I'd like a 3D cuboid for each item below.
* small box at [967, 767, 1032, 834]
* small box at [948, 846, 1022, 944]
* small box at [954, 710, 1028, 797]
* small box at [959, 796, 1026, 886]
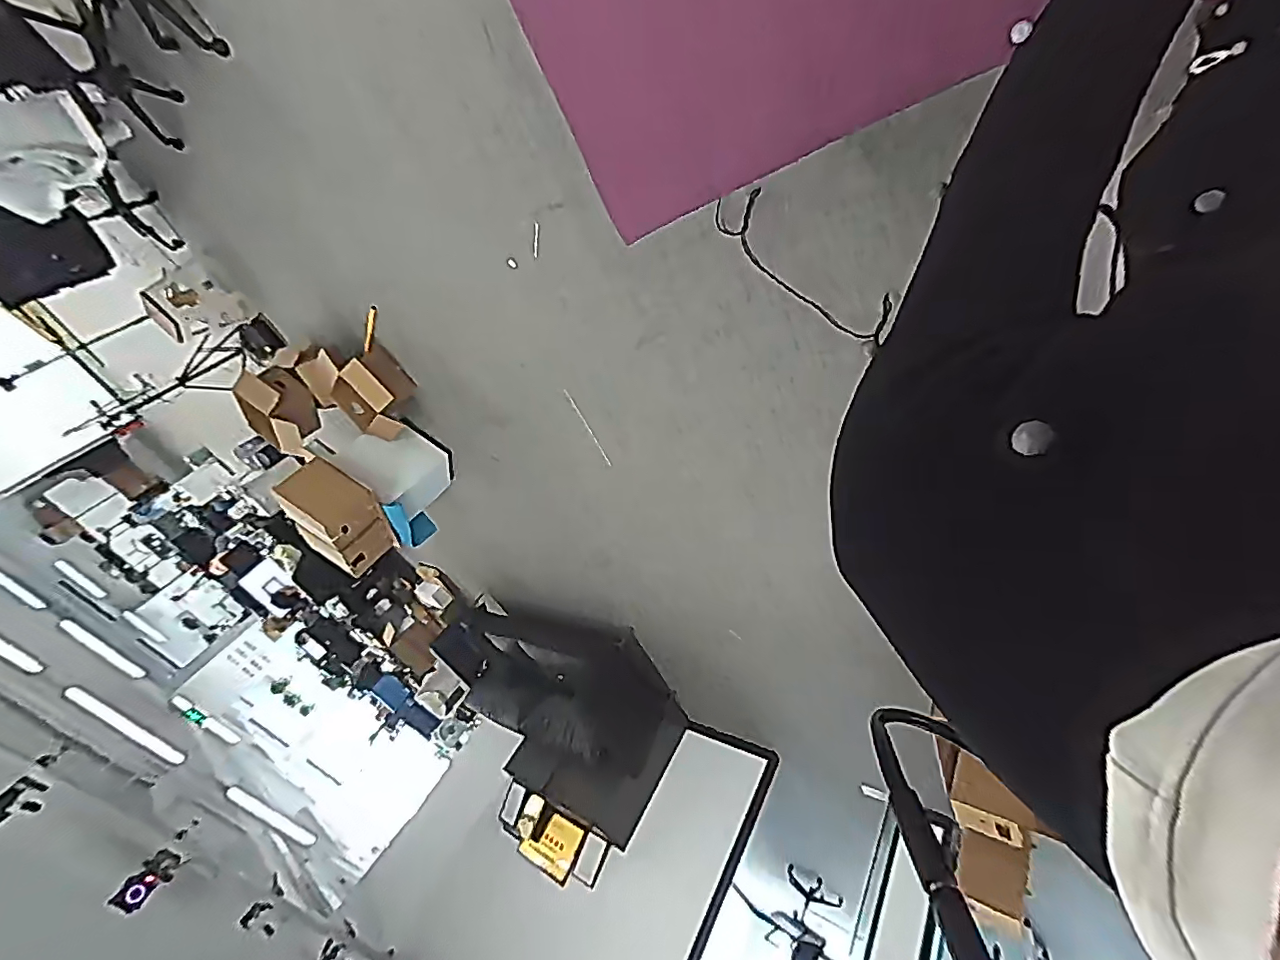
[{"bbox_3d":[1.262,1.090,1.898,0.179,0.176,0.168,6,133,38],"label":"small box"},{"bbox_3d":[1.093,1.300,1.709,0.179,0.176,0.168,3,130,38],"label":"small box"},{"bbox_3d":[1.147,0.882,1.763,0.179,0.176,0.168,1,131,41],"label":"small box"},{"bbox_3d":[1.178,1.196,1.805,0.179,0.176,0.168,3,130,38],"label":"small box"}]
